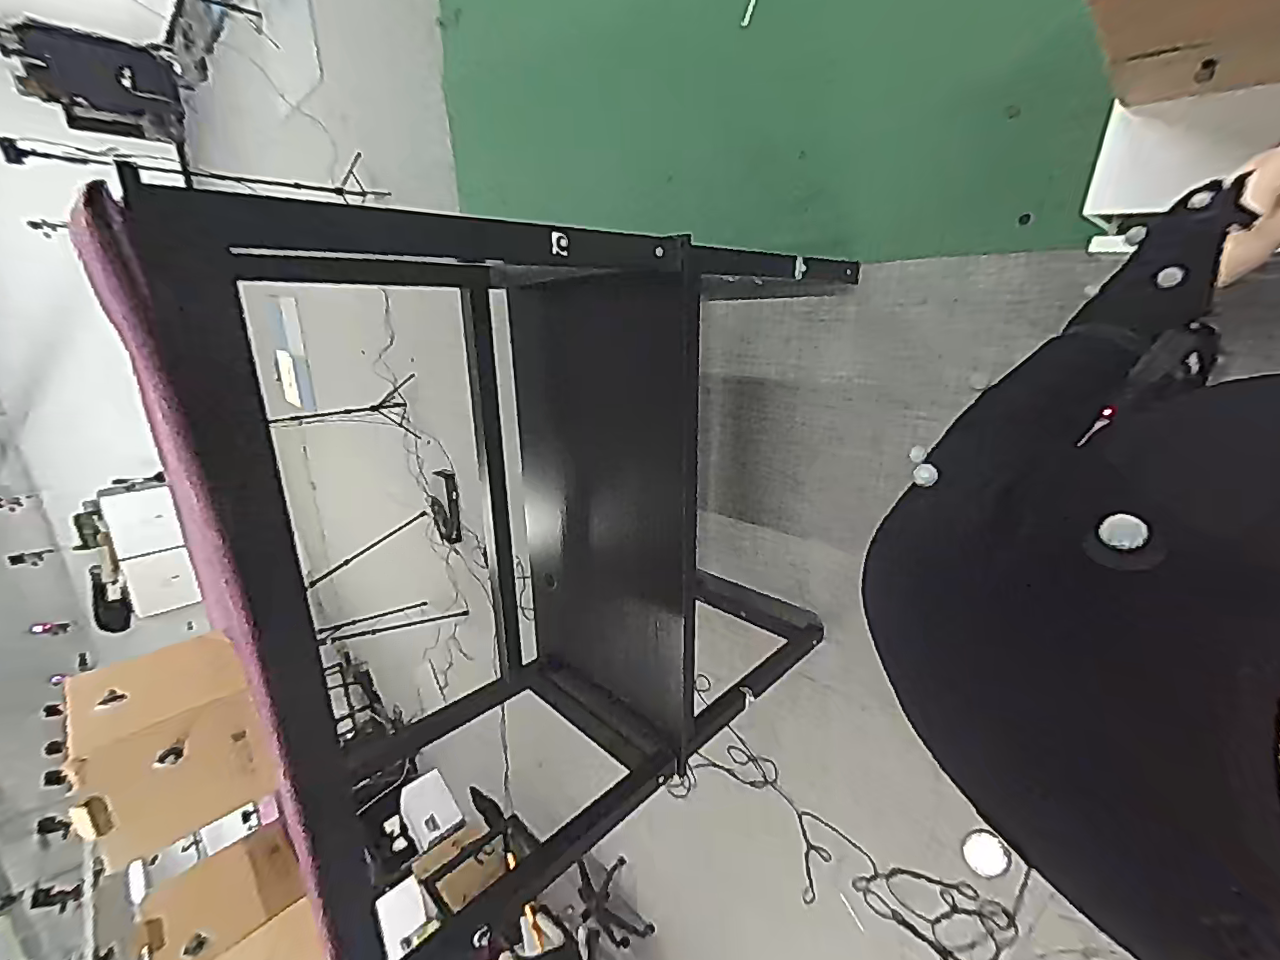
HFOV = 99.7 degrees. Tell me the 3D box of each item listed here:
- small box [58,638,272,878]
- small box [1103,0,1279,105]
[{"bbox_3d":[-0.584,0.326,0.679,0.179,0.176,0.168,18,114,43],"label":"small box"},{"bbox_3d":[0.565,-0.469,0.491,0.179,0.176,0.168,19,116,42],"label":"small box"}]
